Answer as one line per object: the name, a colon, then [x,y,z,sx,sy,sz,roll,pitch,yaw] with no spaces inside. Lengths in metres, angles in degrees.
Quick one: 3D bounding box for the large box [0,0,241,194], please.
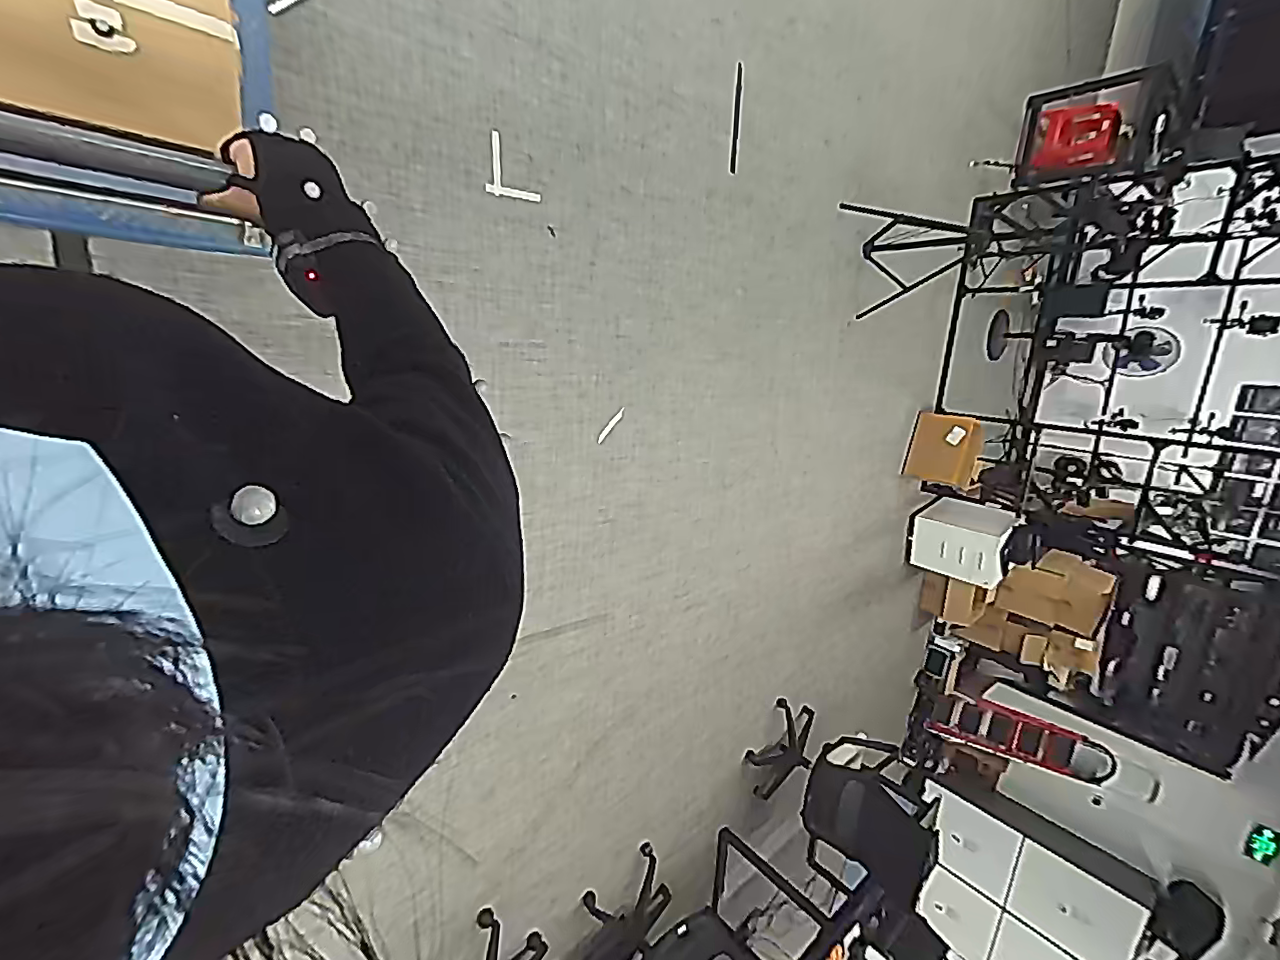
large box: [-0.812,-0.614,0.718,0.408,0.320,0.320,-8,108,-42]
